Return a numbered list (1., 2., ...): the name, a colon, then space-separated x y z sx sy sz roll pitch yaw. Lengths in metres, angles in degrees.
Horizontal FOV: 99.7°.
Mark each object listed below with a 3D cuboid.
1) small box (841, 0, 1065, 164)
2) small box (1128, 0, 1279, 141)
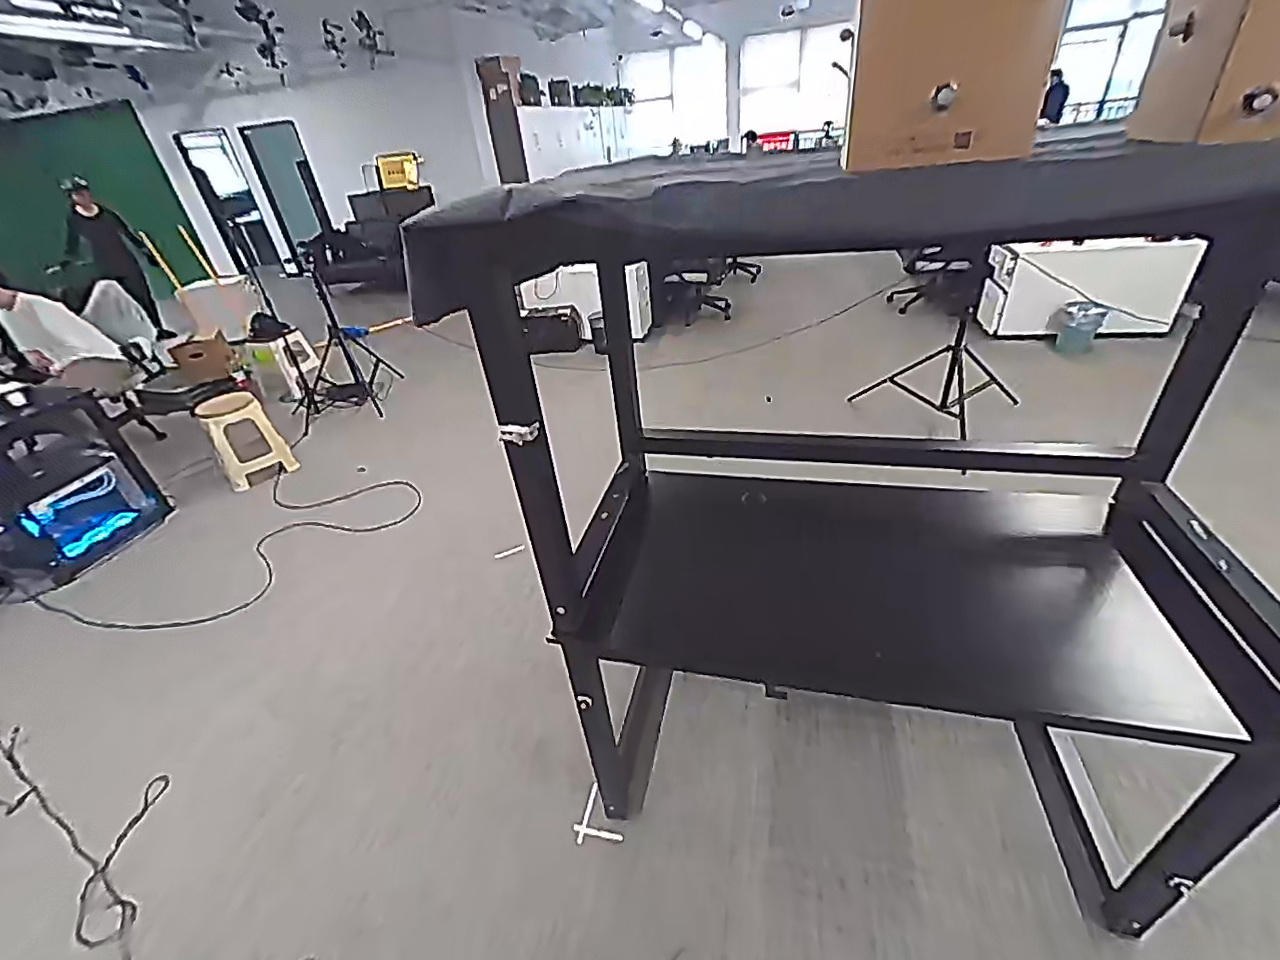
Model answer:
1. small box: 0.303 -0.428 0.556 0.168 0.176 0.179 4 32 16
2. small box: 0.593 -0.412 0.483 0.168 0.176 0.179 6 33 19
